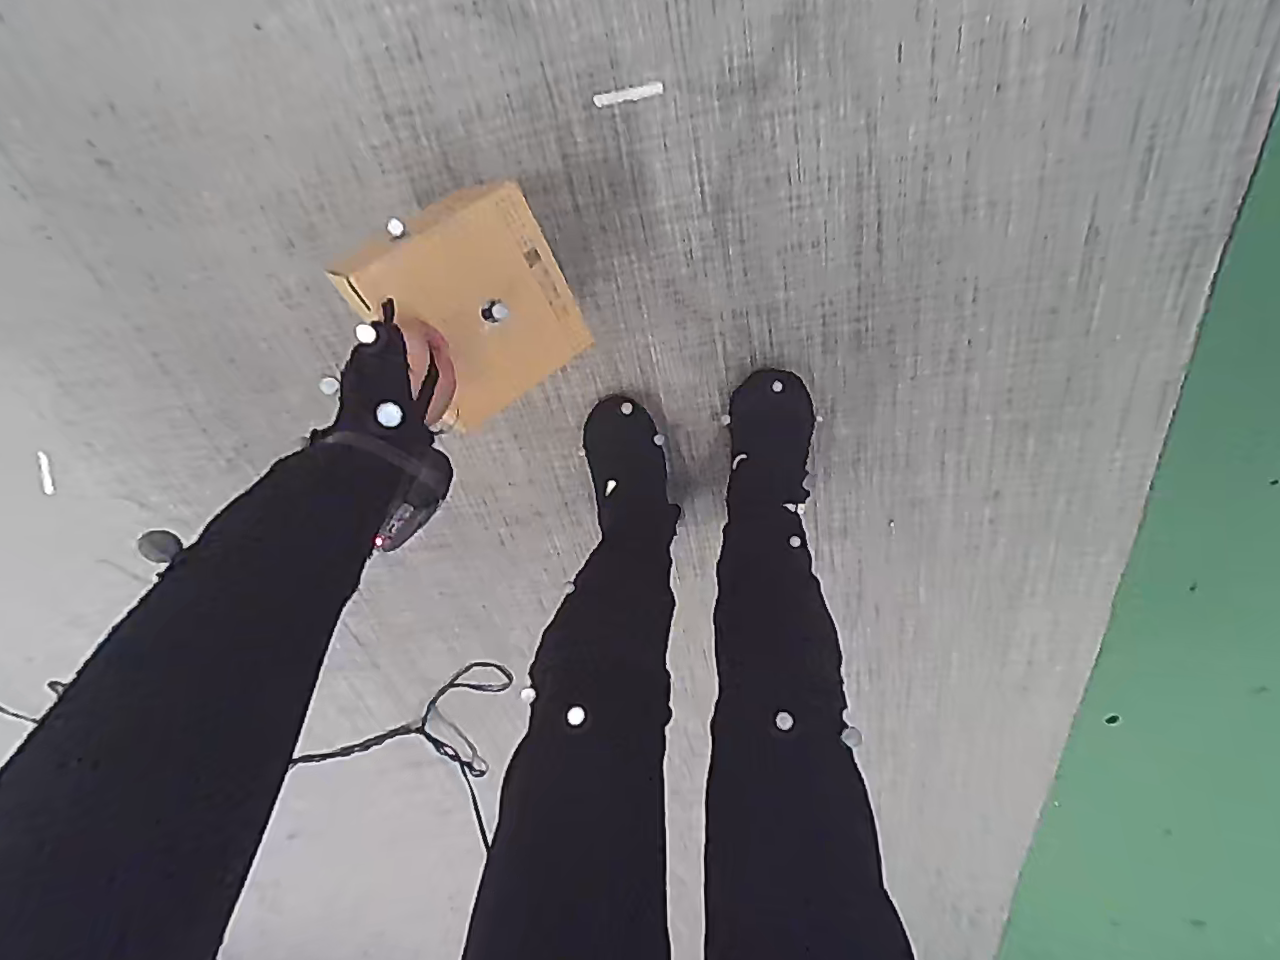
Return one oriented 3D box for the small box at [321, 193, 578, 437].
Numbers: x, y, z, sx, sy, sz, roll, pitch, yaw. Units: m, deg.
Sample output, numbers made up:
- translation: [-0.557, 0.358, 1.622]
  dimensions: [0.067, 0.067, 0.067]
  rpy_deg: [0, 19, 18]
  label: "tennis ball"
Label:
- translation: [-0.188, -0.176, 0.562]
  dimensions: [0.176, 0.179, 0.168]
  rpy_deg: [-41, 129, -16]
  label: "small box"
